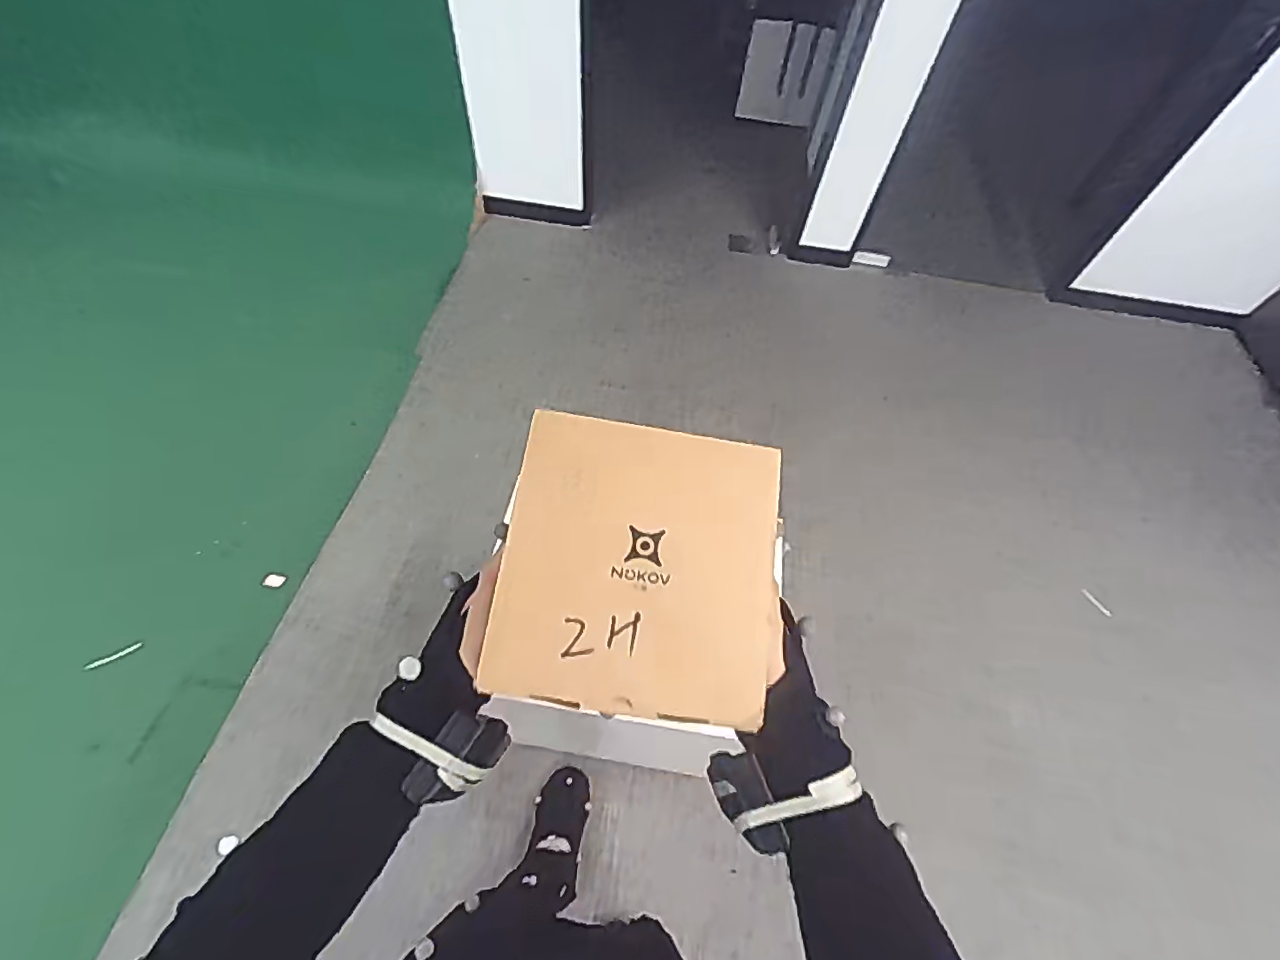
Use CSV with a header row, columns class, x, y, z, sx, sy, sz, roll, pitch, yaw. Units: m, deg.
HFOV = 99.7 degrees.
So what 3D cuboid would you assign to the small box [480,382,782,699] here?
class,x,y,z,sx,sy,sz,roll,pitch,yaw
small box,-0.005,0.055,0.404,0.168,0.176,0.179,9,71,-1
